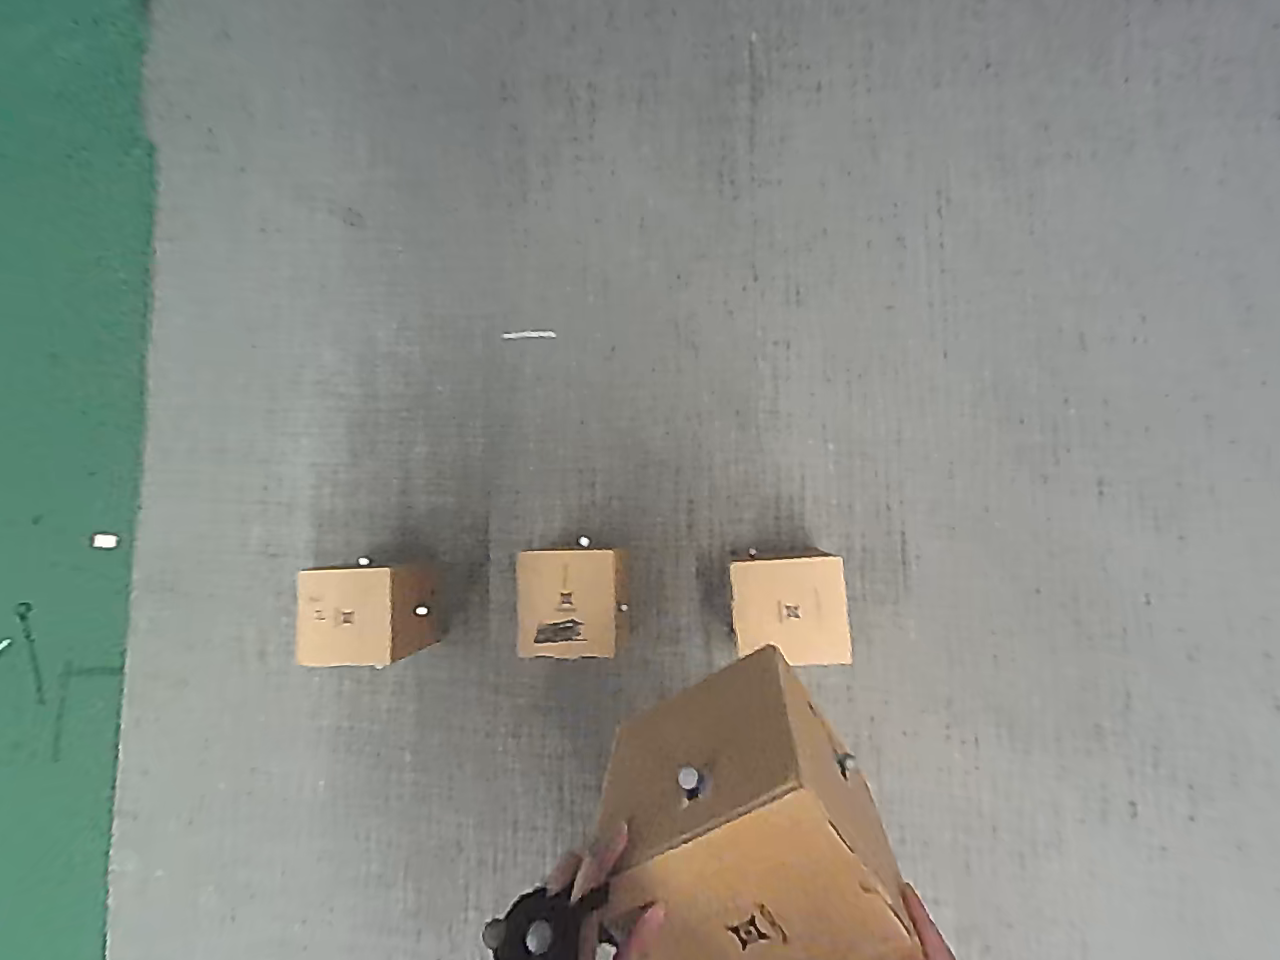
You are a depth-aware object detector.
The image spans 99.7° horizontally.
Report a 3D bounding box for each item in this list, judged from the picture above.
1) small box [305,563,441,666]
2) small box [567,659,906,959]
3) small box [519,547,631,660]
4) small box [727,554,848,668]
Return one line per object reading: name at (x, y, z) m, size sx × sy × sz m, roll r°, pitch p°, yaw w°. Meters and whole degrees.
small box at (-0.494, 0.246, 1.022) m, size 0.179 × 0.176 × 0.168 m, roll -2°, pitch 85°, yaw 7°
small box at (0.073, 0.284, 0.436) m, size 0.179 × 0.176 × 0.168 m, roll -34°, pitch 97°, yaw 12°
small box at (-0.110, 0.213, 0.972) m, size 0.168 × 0.176 × 0.179 m, roll -2°, pitch 85°, yaw 7°
small box at (0.241, 0.217, 0.926) m, size 0.179 × 0.176 × 0.168 m, roll -4°, pitch 86°, yaw 7°
